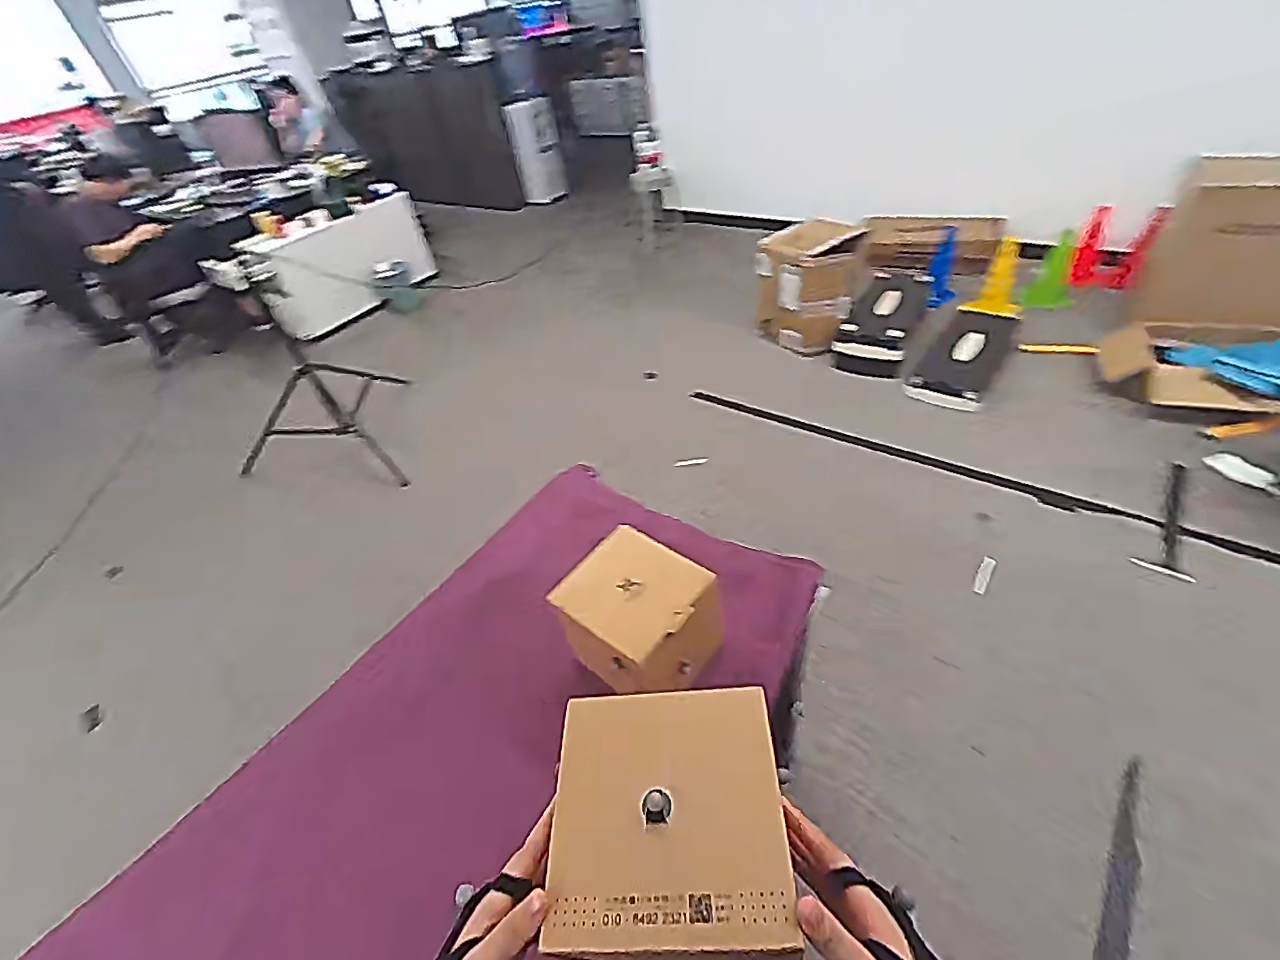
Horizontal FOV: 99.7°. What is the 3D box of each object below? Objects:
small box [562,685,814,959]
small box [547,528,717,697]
[{"bbox_3d":[0.041,0.292,0.439,0.168,0.179,0.176,-6,41,8],"label":"small box"},{"bbox_3d":[-0.004,0.208,0.799,0.179,0.176,0.168,25,54,33],"label":"small box"}]
